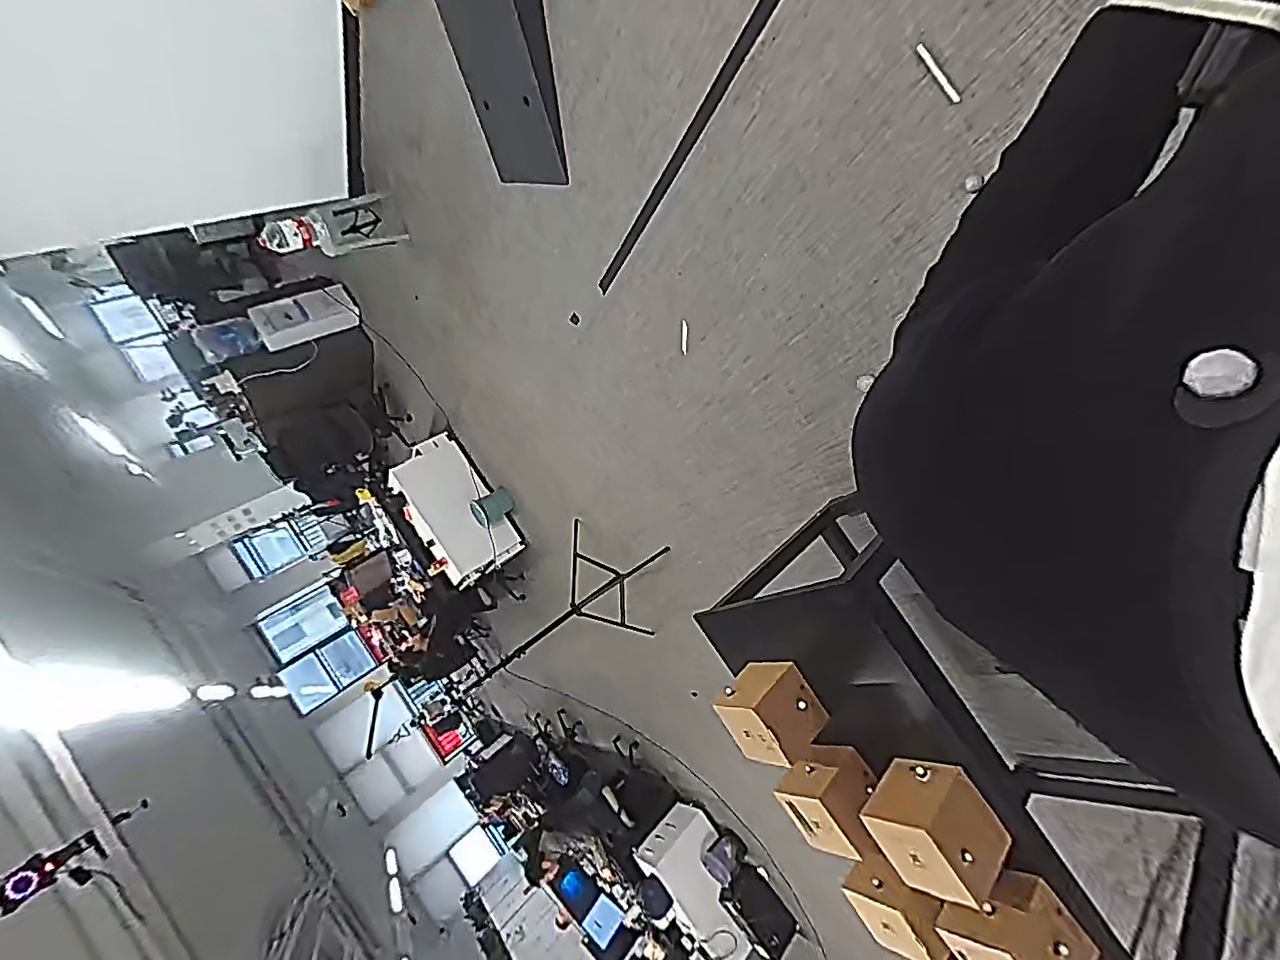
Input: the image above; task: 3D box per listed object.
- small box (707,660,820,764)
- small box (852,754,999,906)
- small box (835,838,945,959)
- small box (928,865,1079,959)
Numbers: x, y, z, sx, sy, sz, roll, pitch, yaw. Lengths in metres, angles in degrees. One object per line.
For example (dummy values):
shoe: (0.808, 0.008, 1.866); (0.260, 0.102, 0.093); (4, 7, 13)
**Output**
small box: (0.308, 0.567, 1.346); (0.168, 0.176, 0.179); (56, 148, 0)
small box: (0.581, 0.696, 1.097); (0.179, 0.176, 0.168); (56, 147, 3)
small box: (0.620, 1.001, 1.307); (0.168, 0.176, 0.179); (57, 147, 1)
small box: (0.728, 0.906, 1.077); (0.168, 0.176, 0.179); (53, 147, 7)
